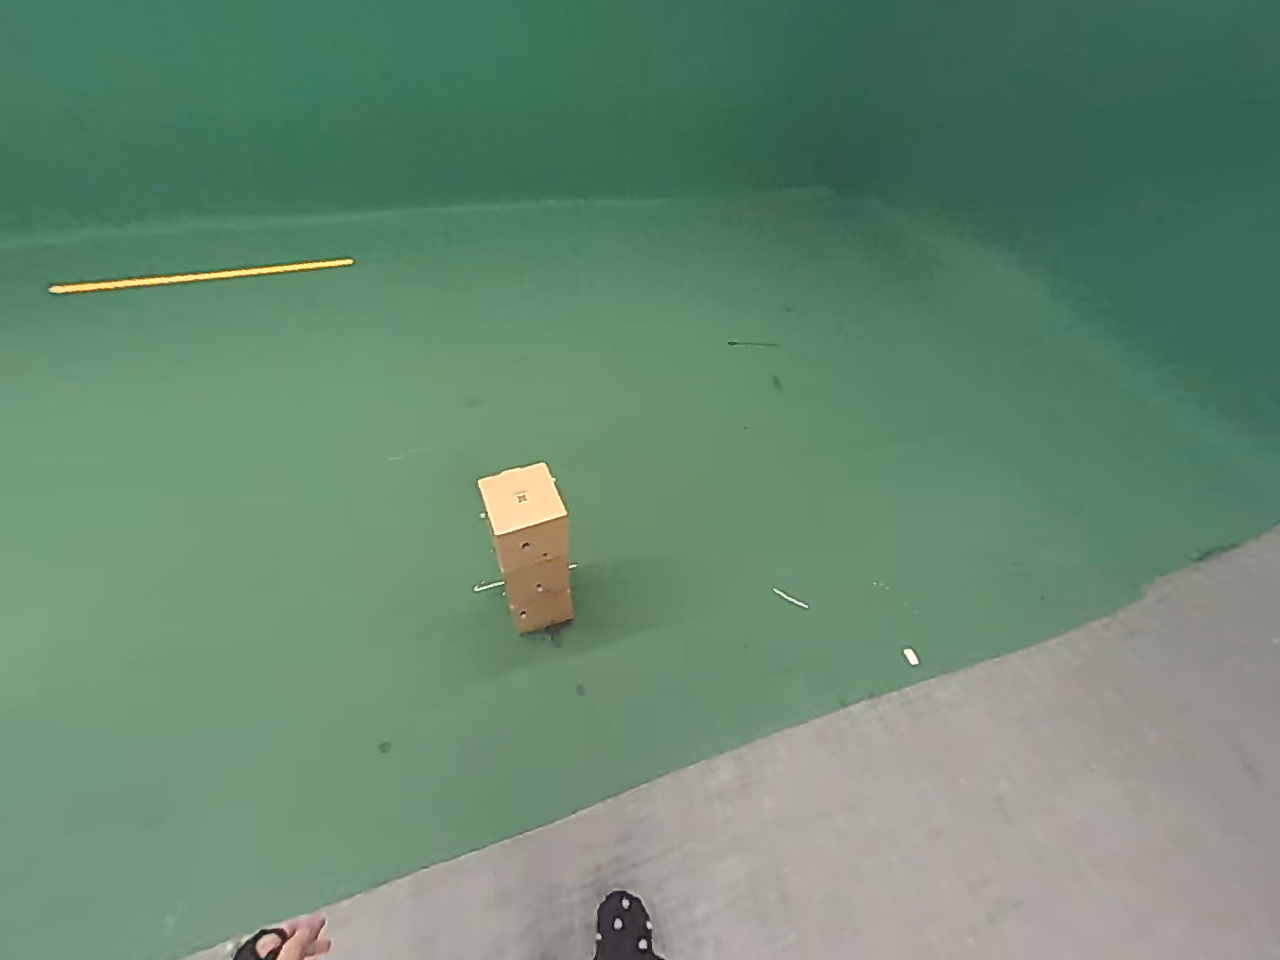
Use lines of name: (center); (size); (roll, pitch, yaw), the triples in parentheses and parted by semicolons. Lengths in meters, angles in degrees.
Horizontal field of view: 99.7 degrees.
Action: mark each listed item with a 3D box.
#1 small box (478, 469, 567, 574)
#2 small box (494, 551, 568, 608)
small box: (-0.281, 0.107, 1.311); (0.168, 0.176, 0.179); (-17, 52, -18)
small box: (-0.294, 0.210, 1.436); (0.168, 0.176, 0.179); (-15, 52, -16)
